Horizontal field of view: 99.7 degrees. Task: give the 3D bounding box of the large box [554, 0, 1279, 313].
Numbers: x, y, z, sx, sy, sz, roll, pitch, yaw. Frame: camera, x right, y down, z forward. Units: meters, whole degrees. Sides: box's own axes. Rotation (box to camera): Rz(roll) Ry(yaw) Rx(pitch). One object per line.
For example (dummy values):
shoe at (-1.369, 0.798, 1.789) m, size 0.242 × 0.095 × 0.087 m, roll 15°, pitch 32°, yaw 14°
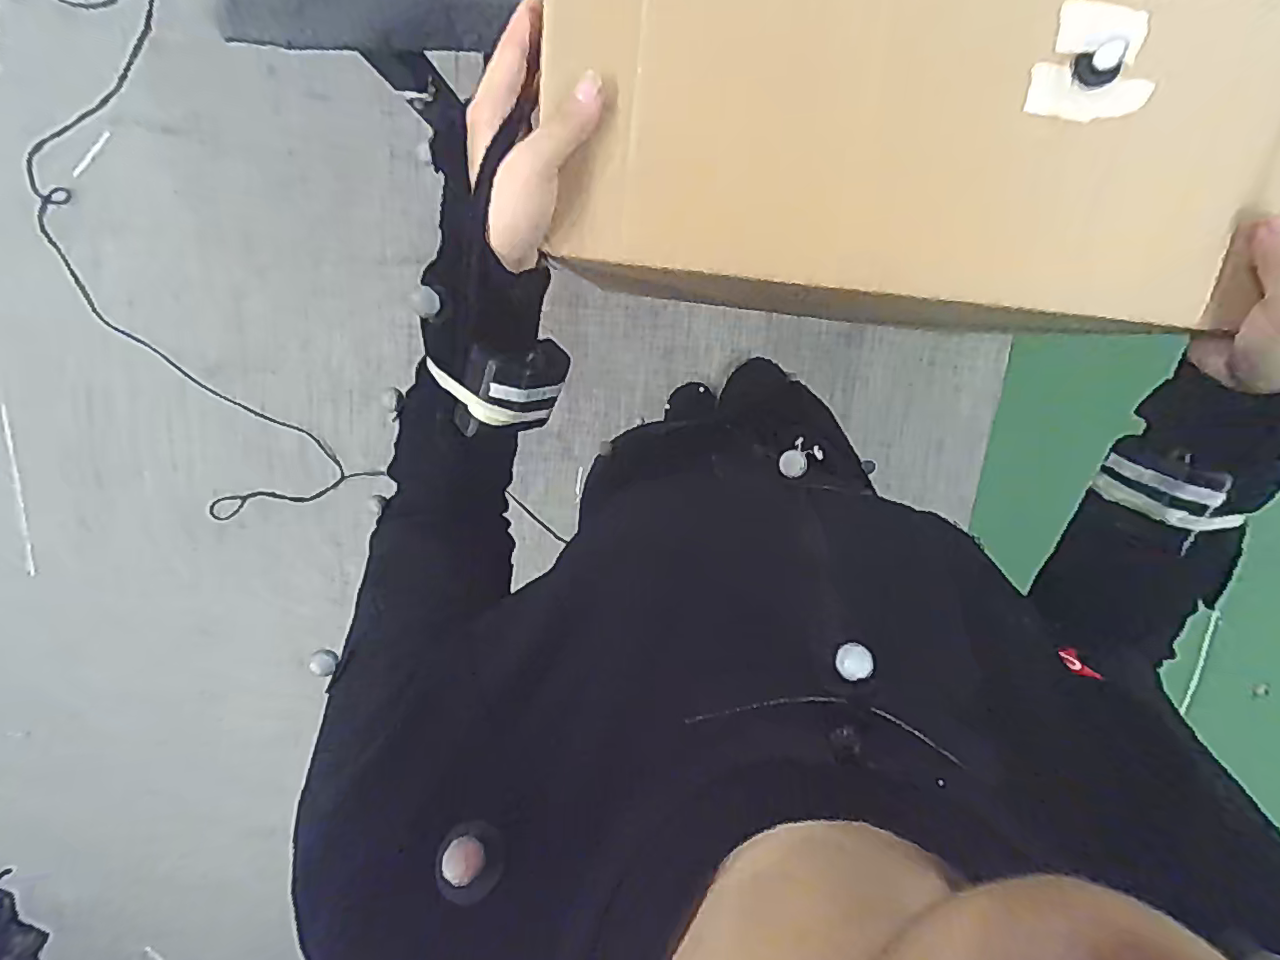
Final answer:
large box at (0.163, -0.307, 0.406) m, size 0.408 × 0.320 × 0.320 m, roll 6°, pitch 106°, yaw 0°
